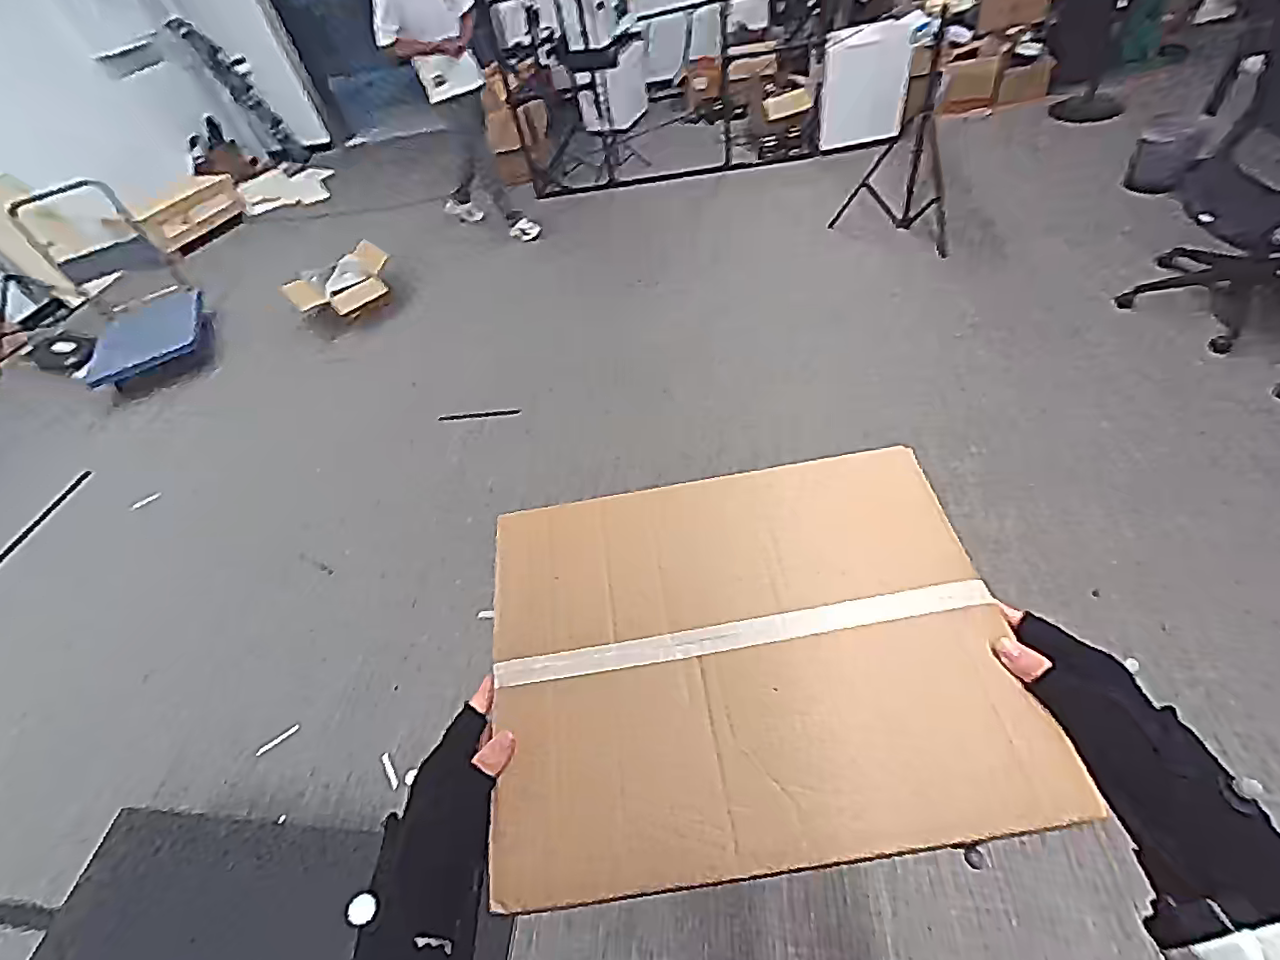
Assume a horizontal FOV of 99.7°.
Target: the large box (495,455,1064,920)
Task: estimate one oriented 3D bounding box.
[{"bbox_3d":[0.093,0.219,0.573,0.408,0.320,0.320,-11,54,1],"label":"large box"}]
